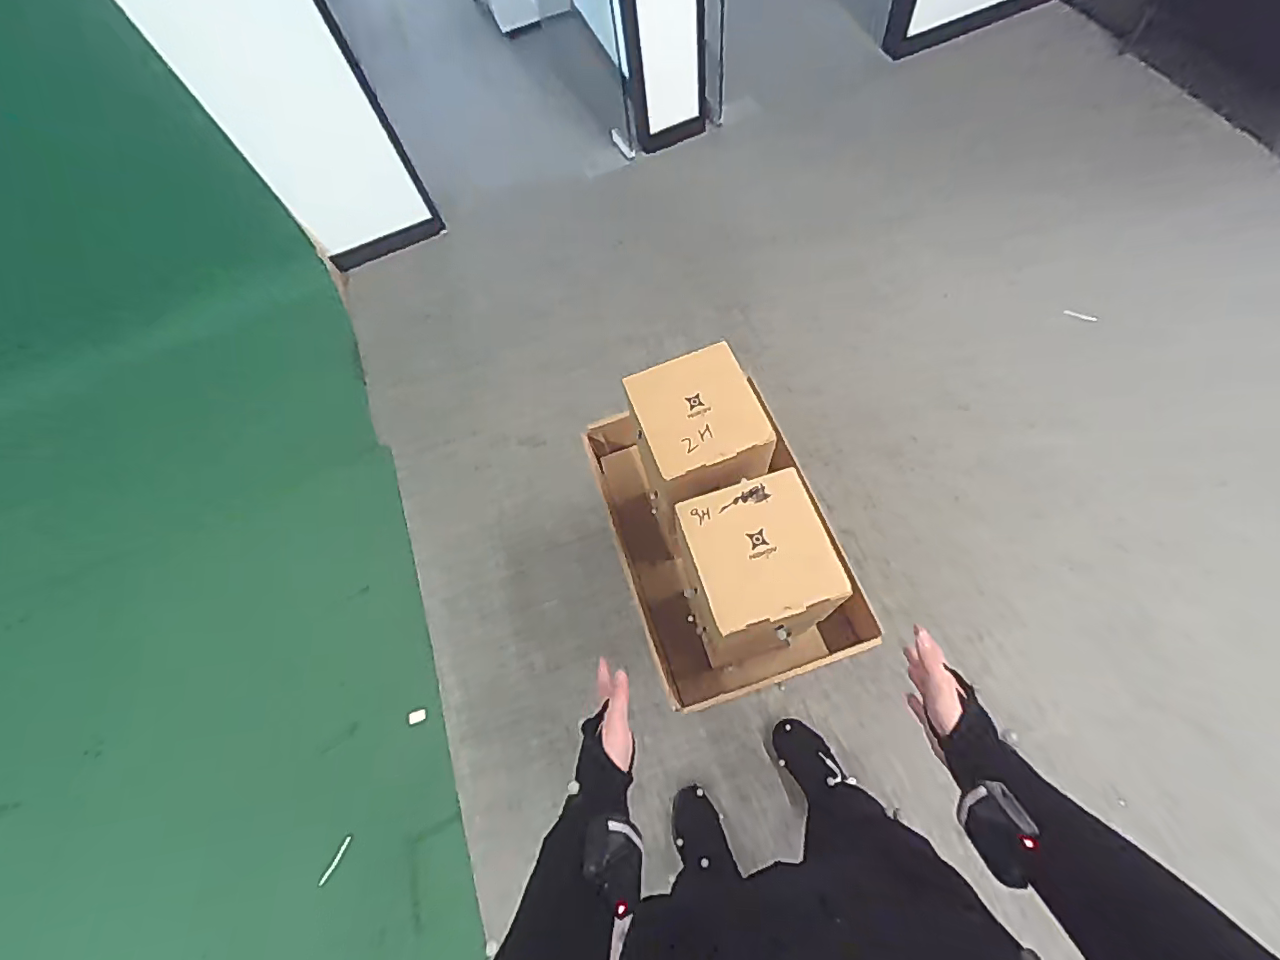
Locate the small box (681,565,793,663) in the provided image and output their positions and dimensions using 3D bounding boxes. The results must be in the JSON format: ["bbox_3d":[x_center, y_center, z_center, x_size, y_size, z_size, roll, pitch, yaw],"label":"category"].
[{"bbox_3d":[0.188,0.239,1.031,0.168,0.176,0.179,-19,64,-1],"label":"small box"}]

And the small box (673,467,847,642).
[{"bbox_3d":[0.151,0.111,0.733,0.168,0.176,0.179,-18,65,-1],"label":"small box"}]

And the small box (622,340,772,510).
[{"bbox_3d":[0.083,-0.075,0.828,0.168,0.176,0.179,-21,67,-1],"label":"small box"}]

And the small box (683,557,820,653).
[{"bbox_3d":[0.172,0.174,0.883,0.168,0.176,0.179,-17,64,-1],"label":"small box"}]
